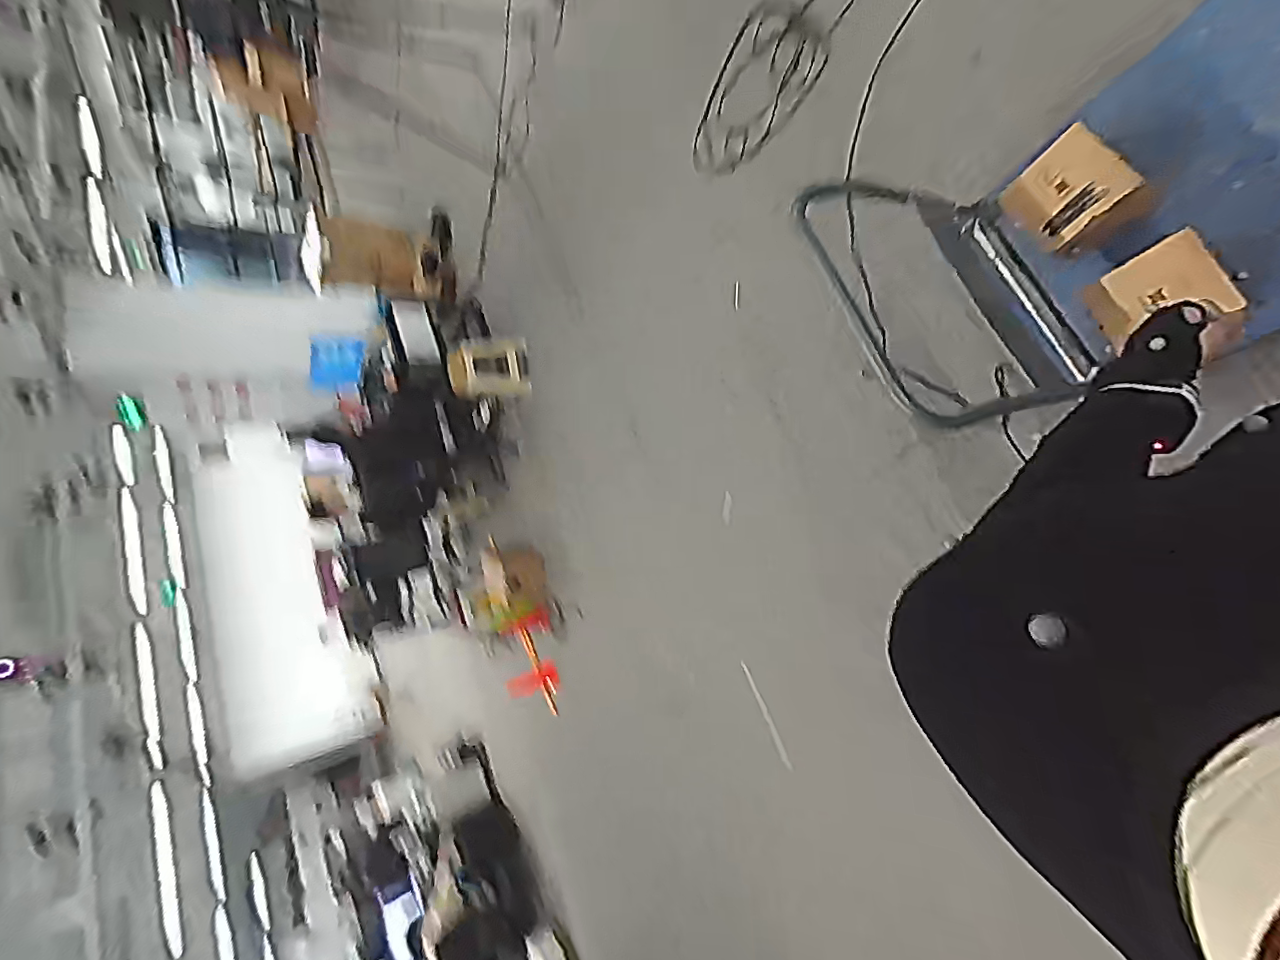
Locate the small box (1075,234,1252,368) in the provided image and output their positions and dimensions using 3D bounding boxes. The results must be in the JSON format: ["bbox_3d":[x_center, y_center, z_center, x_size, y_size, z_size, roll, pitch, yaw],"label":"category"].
[{"bbox_3d":[0.983,-0.326,1.019,0.179,0.176,0.168,-39,67,49],"label":"small box"}]
